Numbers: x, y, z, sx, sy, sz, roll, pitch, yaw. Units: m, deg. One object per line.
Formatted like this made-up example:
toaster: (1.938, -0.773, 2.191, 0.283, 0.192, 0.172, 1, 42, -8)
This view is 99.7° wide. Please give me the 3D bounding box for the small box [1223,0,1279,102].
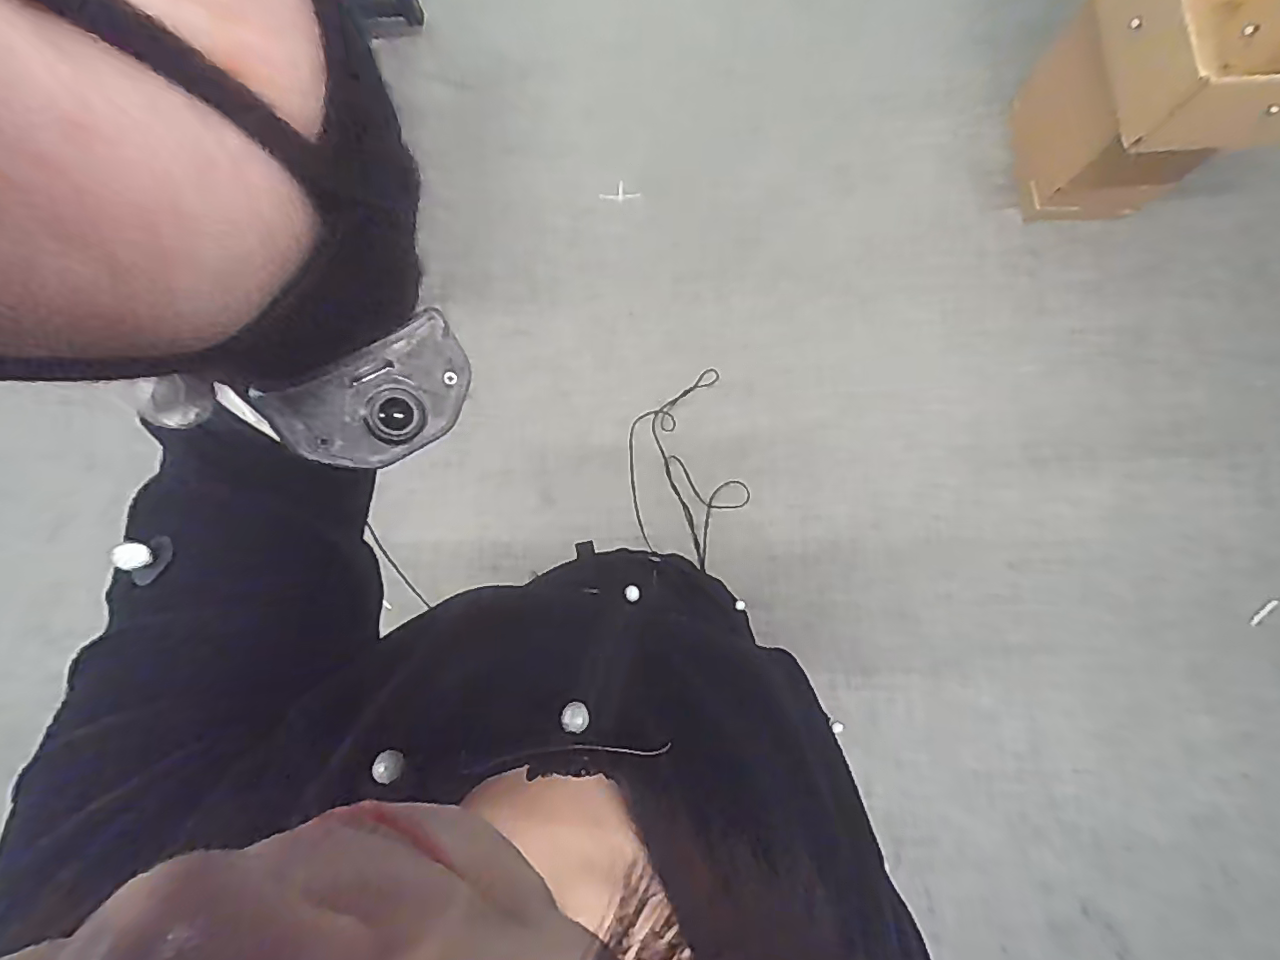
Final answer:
small box: (1.323, -0.890, 1.074, 0.179, 0.176, 0.168, 5, 82, 5)
